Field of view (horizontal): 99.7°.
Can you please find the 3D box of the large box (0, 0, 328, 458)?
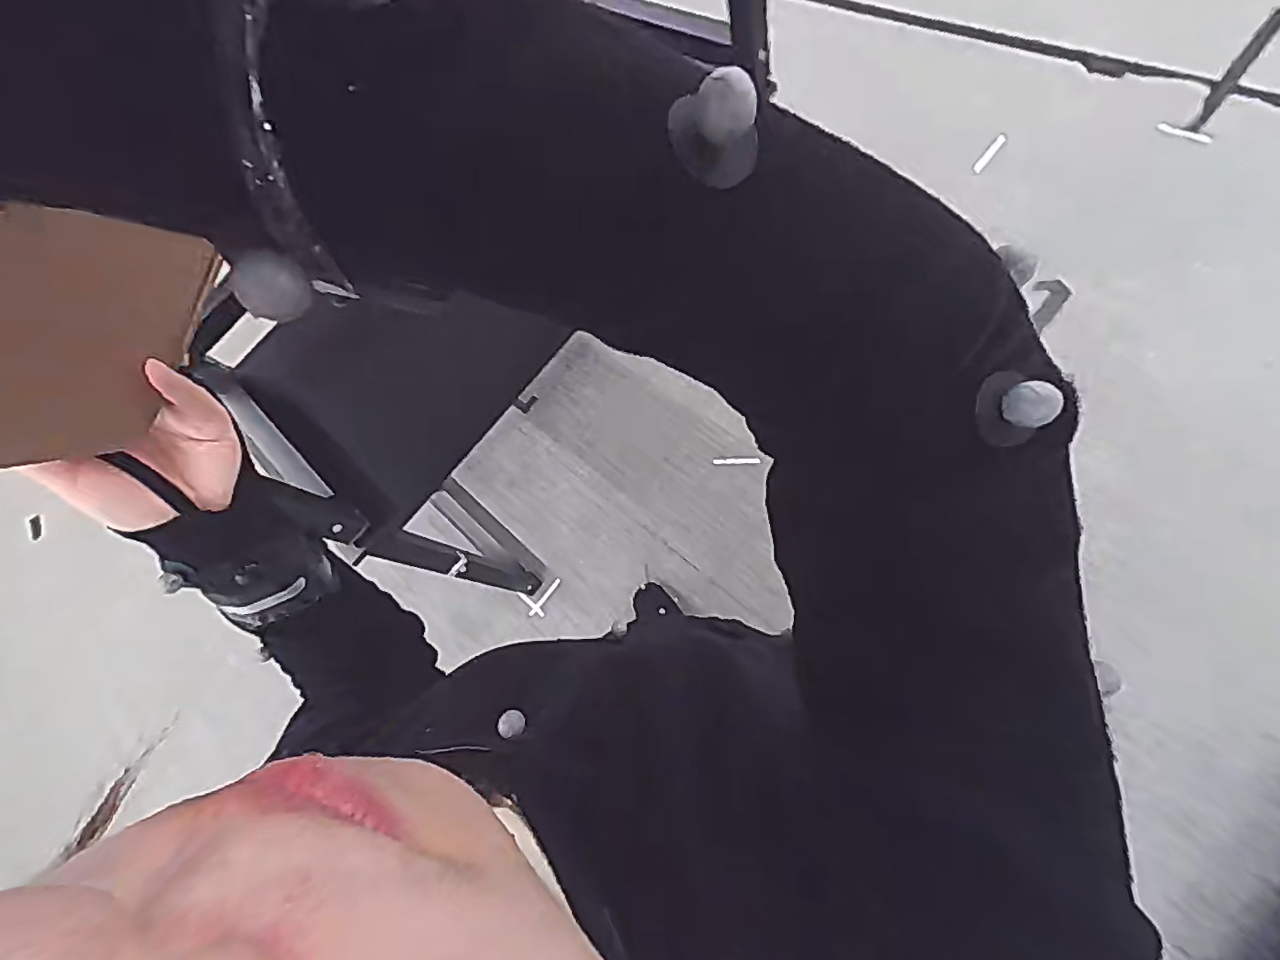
[{"bbox_3d":[-0.347,-0.214,0.095,0.408,0.320,0.320,31,101,-1],"label":"large box"}]
